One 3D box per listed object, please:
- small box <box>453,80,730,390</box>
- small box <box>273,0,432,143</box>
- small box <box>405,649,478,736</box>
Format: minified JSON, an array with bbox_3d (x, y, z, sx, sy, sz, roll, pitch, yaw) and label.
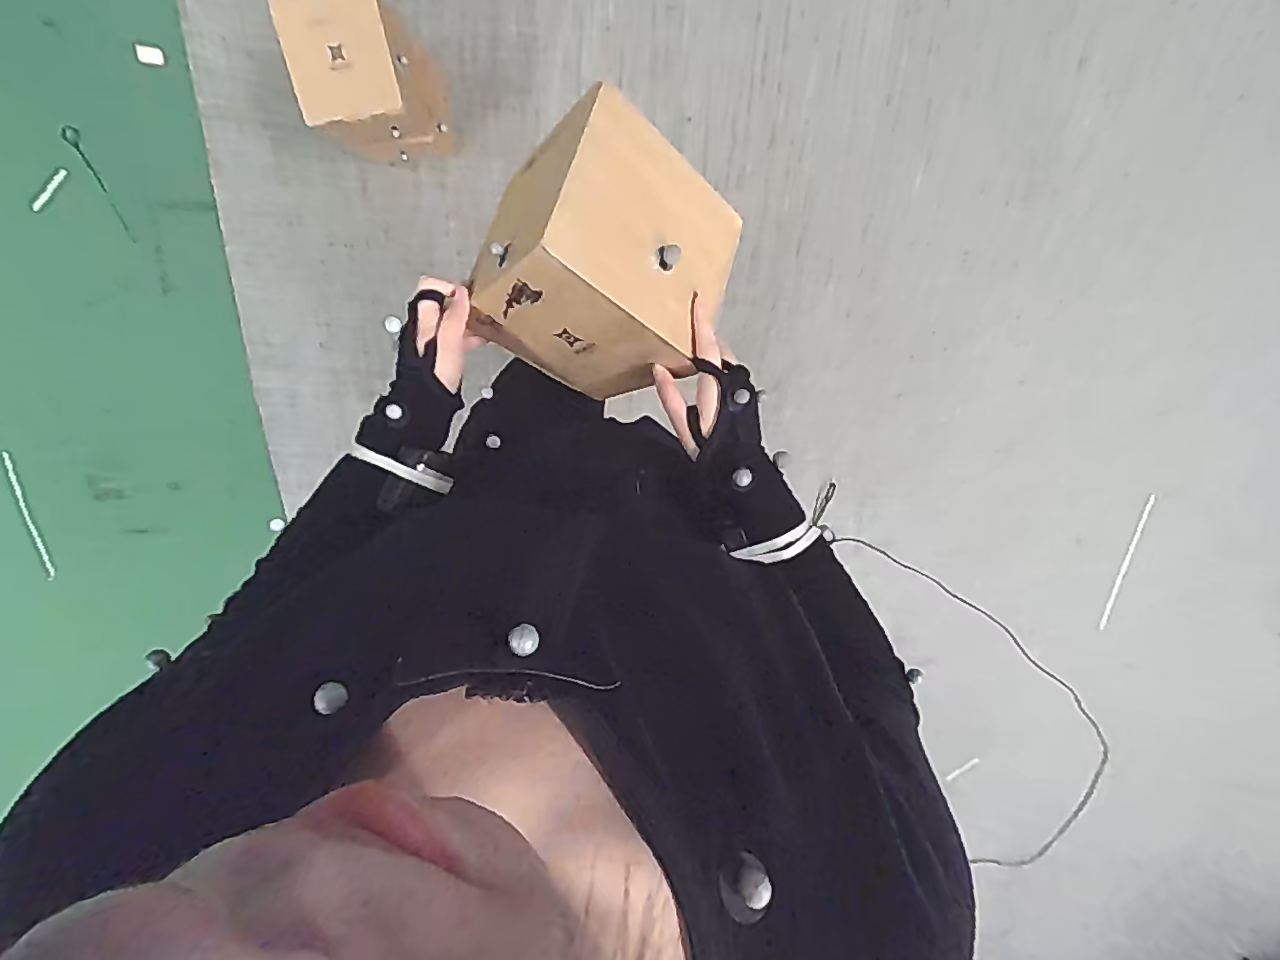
[{"bbox_3d":[-0.039,-0.209,0.506,0.179,0.168,0.176,27,70,-35],"label":"small box"},{"bbox_3d":[-0.480,-0.704,0.938,0.168,0.176,0.179,-8,111,-1],"label":"small box"},{"bbox_3d":[-0.595,0.638,1.633,0.168,0.176,0.179,10,111,-7],"label":"small box"}]
